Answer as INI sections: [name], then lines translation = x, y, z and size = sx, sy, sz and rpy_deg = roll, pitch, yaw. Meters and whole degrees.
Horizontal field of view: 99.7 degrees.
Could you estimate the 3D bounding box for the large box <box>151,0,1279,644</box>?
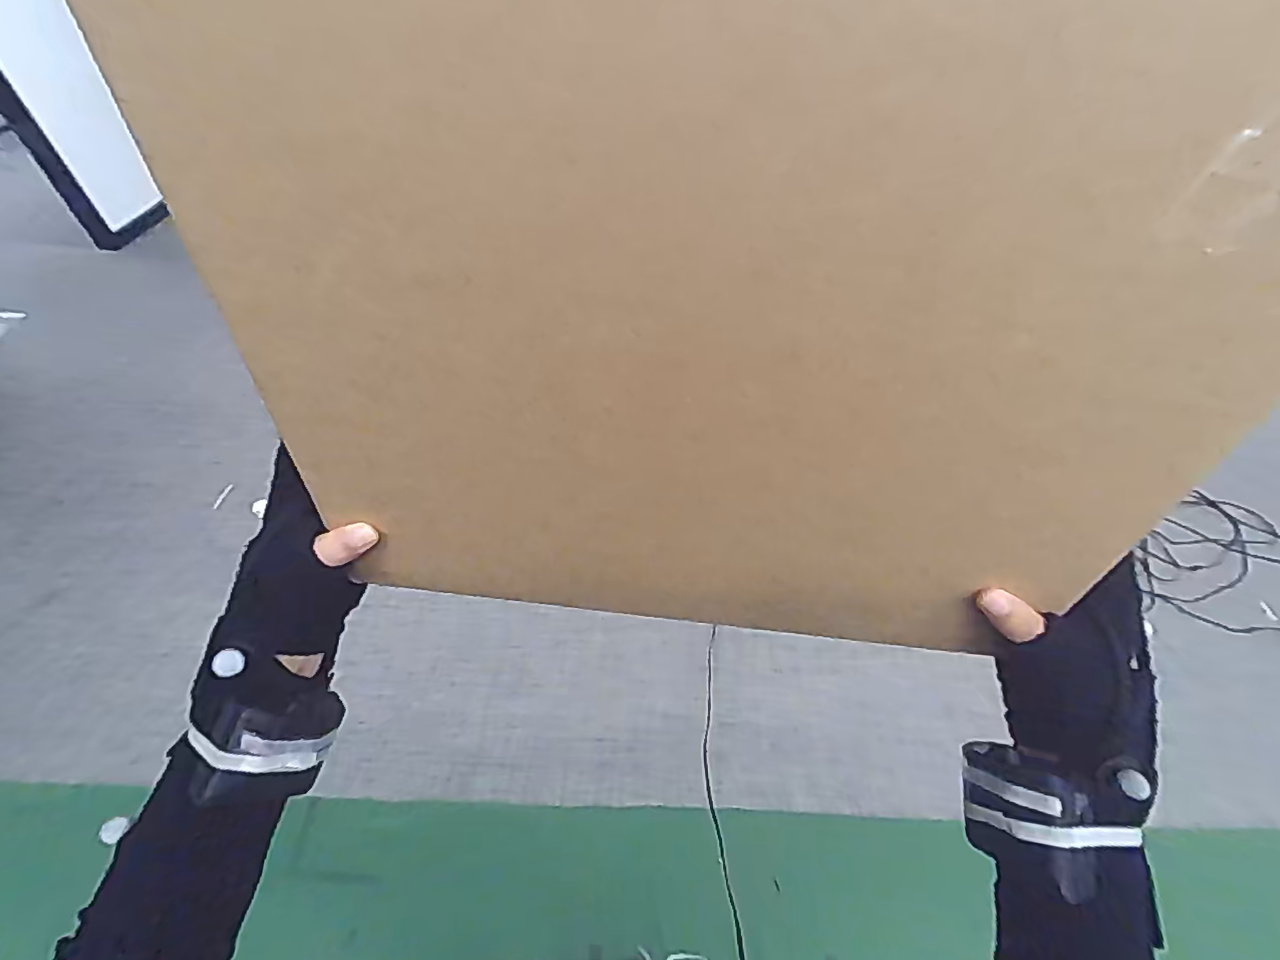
[large box]
translation = 0.055, -0.126, 0.339
size = 0.408, 0.320, 0.320
rpy_deg = 7, 43, 0
